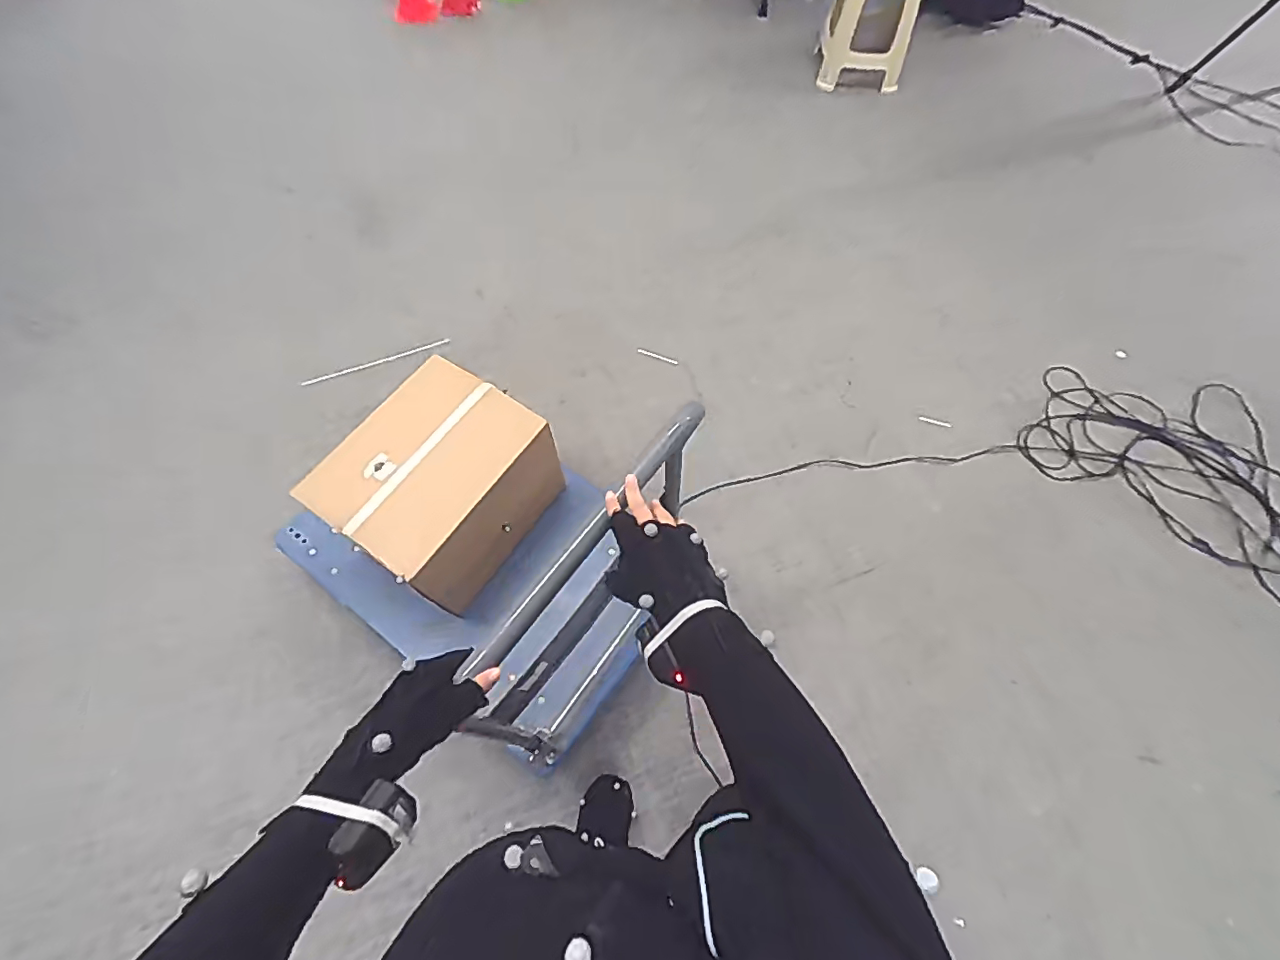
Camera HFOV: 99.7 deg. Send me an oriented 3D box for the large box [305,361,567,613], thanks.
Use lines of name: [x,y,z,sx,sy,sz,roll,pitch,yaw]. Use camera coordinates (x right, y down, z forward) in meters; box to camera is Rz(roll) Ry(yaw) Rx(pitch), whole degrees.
large box: [-0.413,0.024,1.206,0.320,0.320,0.408,30,69,15]
